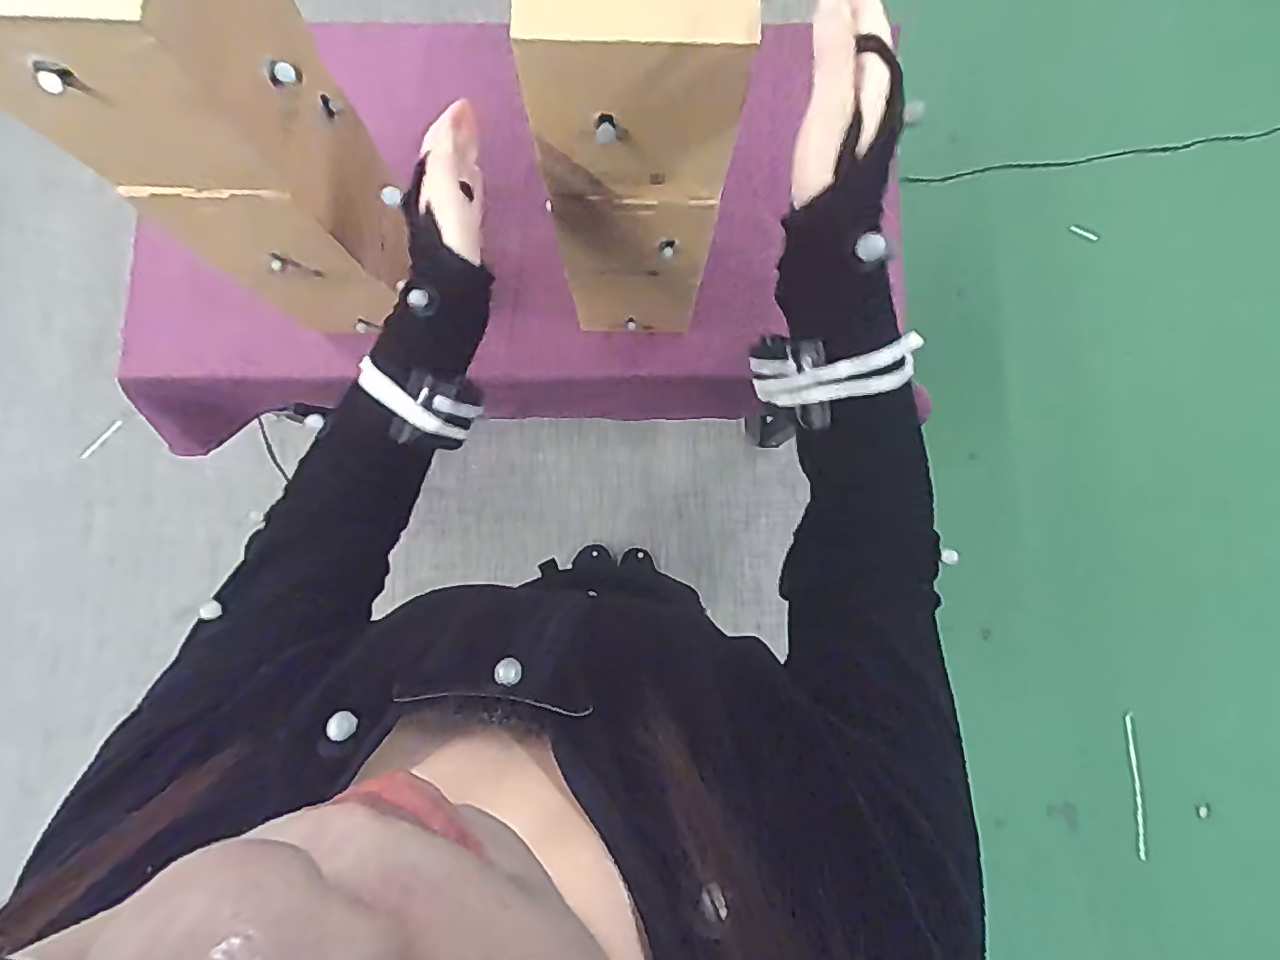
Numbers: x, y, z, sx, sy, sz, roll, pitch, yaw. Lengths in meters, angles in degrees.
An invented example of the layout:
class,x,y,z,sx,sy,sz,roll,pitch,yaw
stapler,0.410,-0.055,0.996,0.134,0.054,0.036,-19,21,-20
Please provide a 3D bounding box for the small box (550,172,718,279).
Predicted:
class,x,y,z,sx,sy,sz,roll,pitch,yaw
small box,-0.005,-0.342,0.606,0.168,0.176,0.179,0,84,-1

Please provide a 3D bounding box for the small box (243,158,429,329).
class,x,y,z,sx,sy,sz,roll,pitch,yaw
small box,-0.411,-0.322,0.761,0.179,0.176,0.168,-1,83,-2

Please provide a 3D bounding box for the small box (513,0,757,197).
class,x,y,z,sx,sy,sz,roll,pitch,yaw
small box,-0.003,-0.360,0.444,0.168,0.176,0.179,0,83,-1

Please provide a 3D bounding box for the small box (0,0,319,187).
class,x,y,z,sx,sy,sz,roll,pitch,yaw
small box,-0.399,-0.364,0.434,0.179,0.176,0.168,2,83,-2

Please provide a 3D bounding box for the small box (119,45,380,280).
class,x,y,z,sx,sy,sz,roll,pitch,yaw
small box,-0.407,-0.345,0.597,0.168,0.176,0.179,0,84,0
